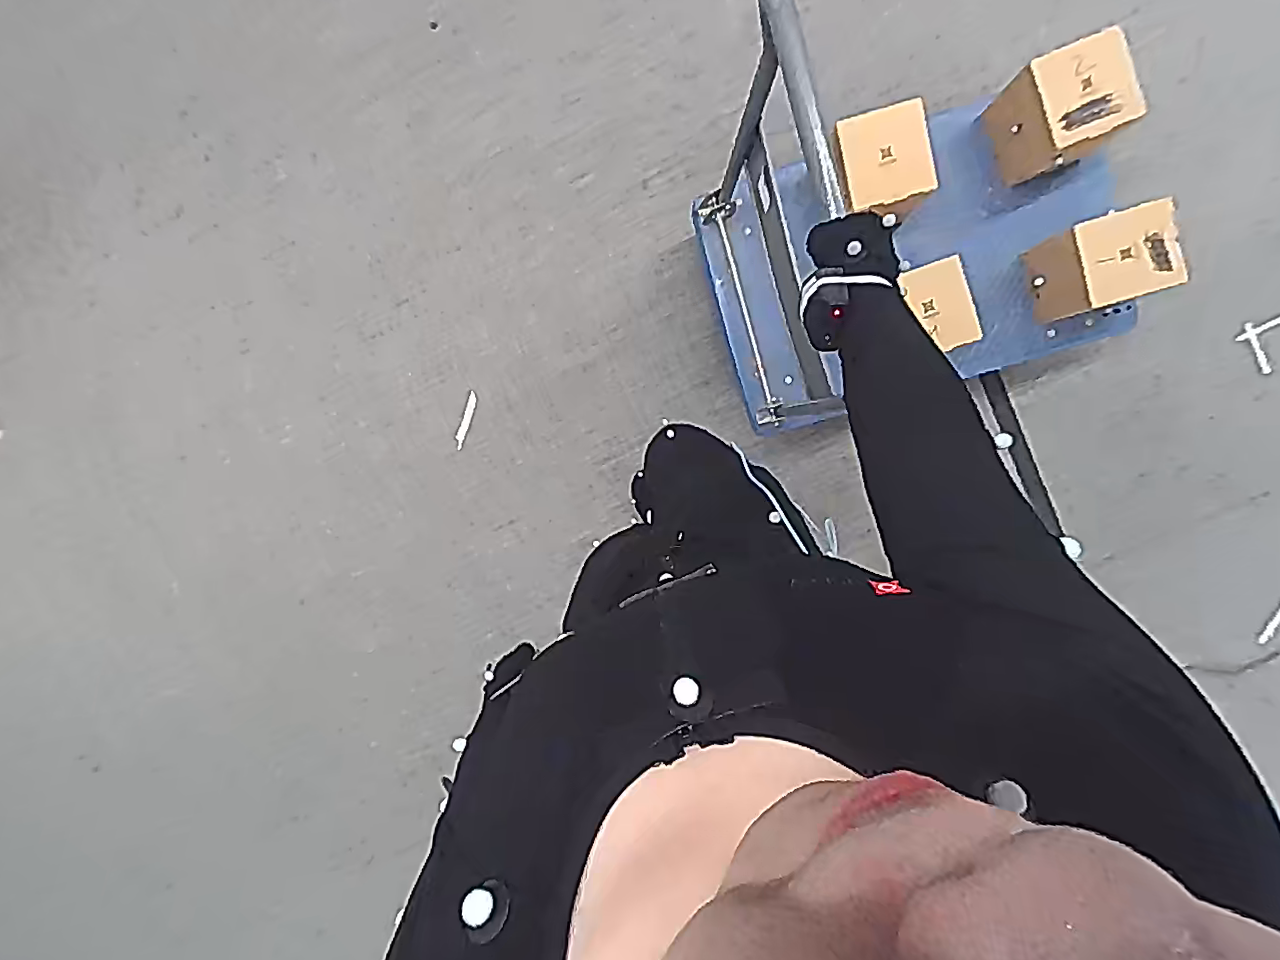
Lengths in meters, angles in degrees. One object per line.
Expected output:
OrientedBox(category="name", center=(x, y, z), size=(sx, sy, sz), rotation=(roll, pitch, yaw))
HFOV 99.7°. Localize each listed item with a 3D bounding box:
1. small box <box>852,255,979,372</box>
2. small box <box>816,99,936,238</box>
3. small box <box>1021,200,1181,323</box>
OrientedBox(category="small box", center=(0.572, -0.343, 1.148), size=(0.168, 0.176, 0.179), rotation=(-18, 94, 6))
OrientedBox(category="small box", center=(0.482, -0.637, 1.128), size=(0.168, 0.176, 0.179), rotation=(-14, 95, 5))
OrientedBox(category="small box", center=(0.935, -0.438, 1.111), size=(0.179, 0.176, 0.168), rotation=(-15, 94, 7))
